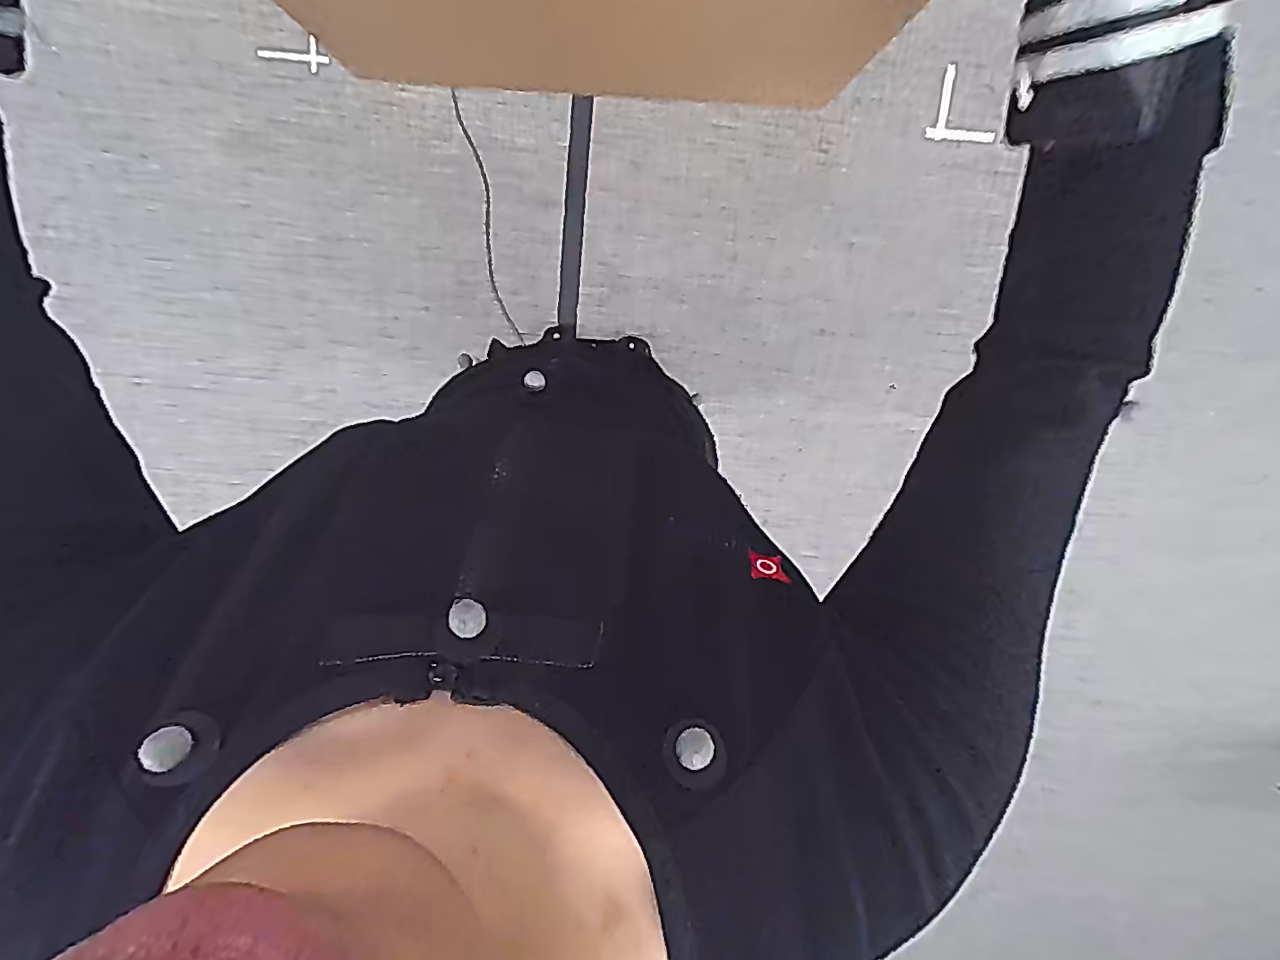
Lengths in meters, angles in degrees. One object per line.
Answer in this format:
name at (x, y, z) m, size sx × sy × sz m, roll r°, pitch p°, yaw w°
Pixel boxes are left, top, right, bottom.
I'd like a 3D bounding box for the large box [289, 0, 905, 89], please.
large box at (-0.026, -0.438, 0.272) m, size 0.408 × 0.320 × 0.320 m, roll 0°, pitch 107°, yaw -4°
